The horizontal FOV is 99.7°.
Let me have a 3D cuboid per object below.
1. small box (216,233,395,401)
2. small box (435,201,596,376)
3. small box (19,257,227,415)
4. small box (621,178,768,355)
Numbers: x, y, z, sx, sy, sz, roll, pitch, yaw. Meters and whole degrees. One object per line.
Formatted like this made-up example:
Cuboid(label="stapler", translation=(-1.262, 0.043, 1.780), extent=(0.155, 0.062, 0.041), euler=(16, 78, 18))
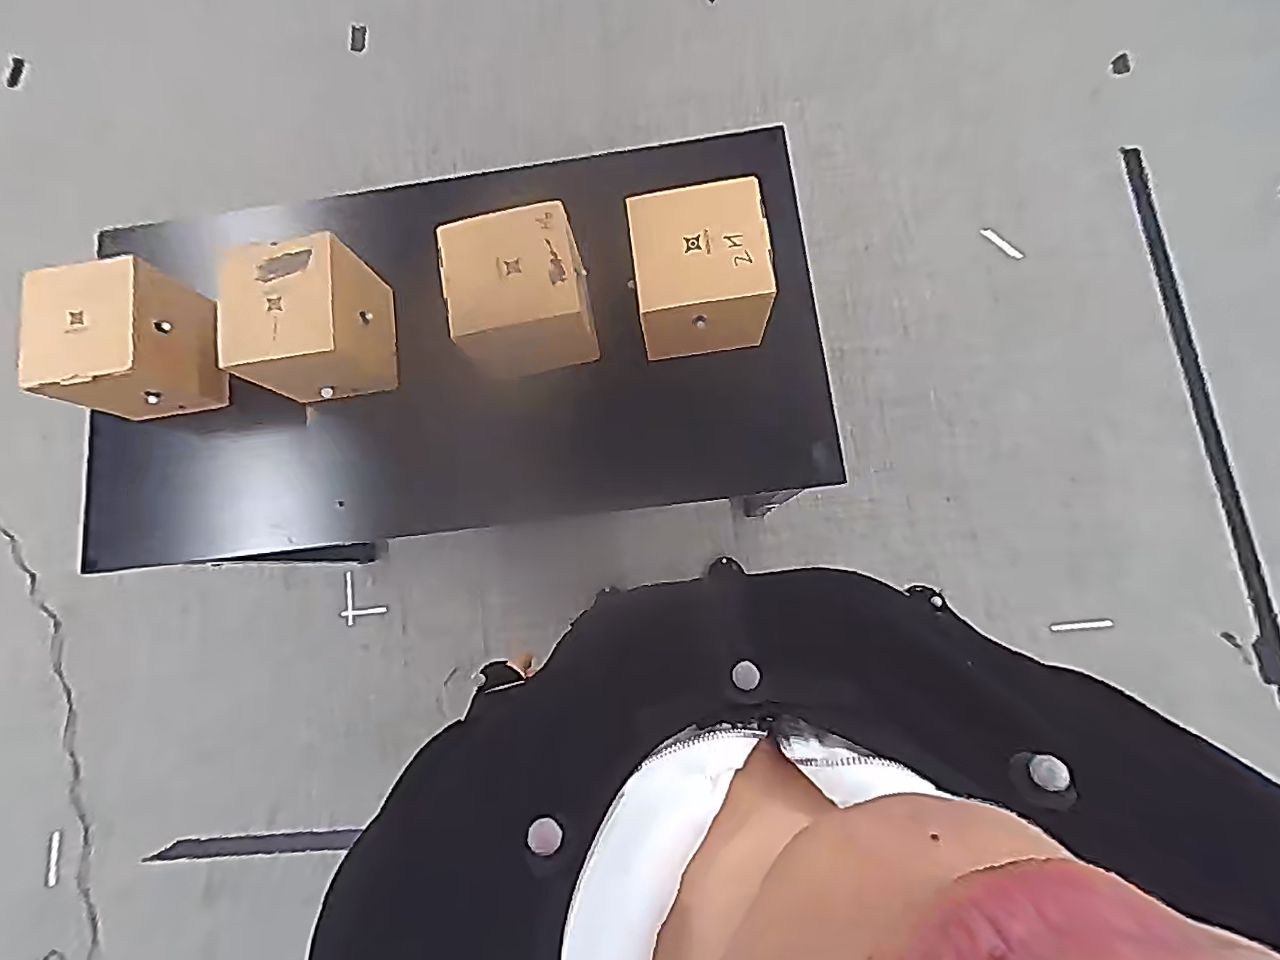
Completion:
Cuboid(label="small box", translation=(-0.489, -0.234, 0.812), extent=(0.168, 0.176, 0.179), euler=(-8, 81, 3))
Cuboid(label="small box", translation=(-0.173, -0.268, 0.795), extent=(0.179, 0.176, 0.168), euler=(-11, 81, 3))
Cuboid(label="small box", translation=(-0.775, -0.207, 0.829), extent=(0.168, 0.176, 0.179), euler=(-9, 80, 1))
Cuboid(label="small box", translation=(0.076, -0.293, 0.779), extent=(0.179, 0.176, 0.168), euler=(-7, 81, 3))
